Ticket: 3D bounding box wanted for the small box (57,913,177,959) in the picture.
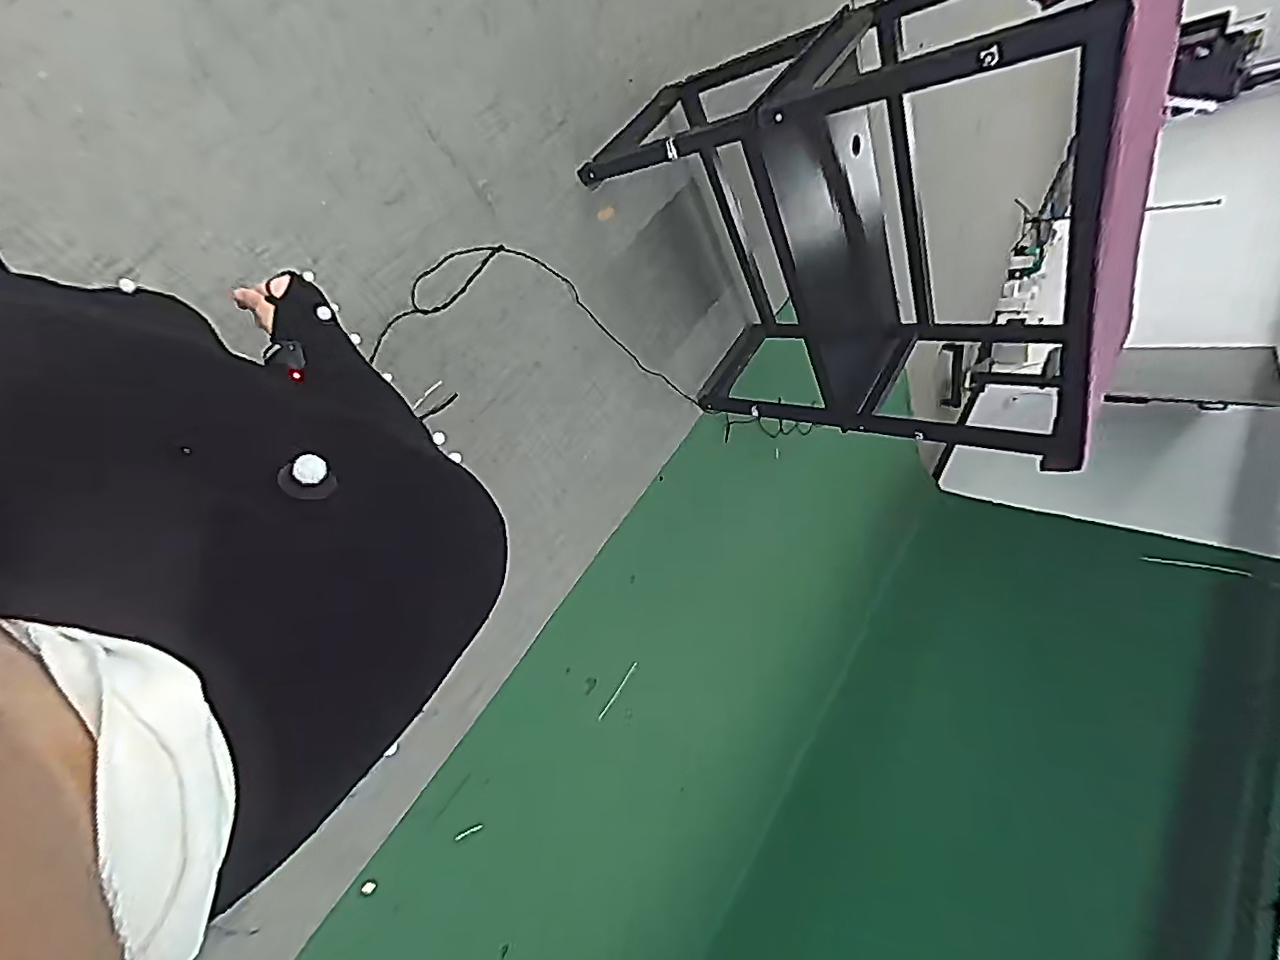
[{"bbox_3d":[-1.150,1.080,1.159,0.179,0.176,0.168,-54,133,-19],"label":"small box"}]
